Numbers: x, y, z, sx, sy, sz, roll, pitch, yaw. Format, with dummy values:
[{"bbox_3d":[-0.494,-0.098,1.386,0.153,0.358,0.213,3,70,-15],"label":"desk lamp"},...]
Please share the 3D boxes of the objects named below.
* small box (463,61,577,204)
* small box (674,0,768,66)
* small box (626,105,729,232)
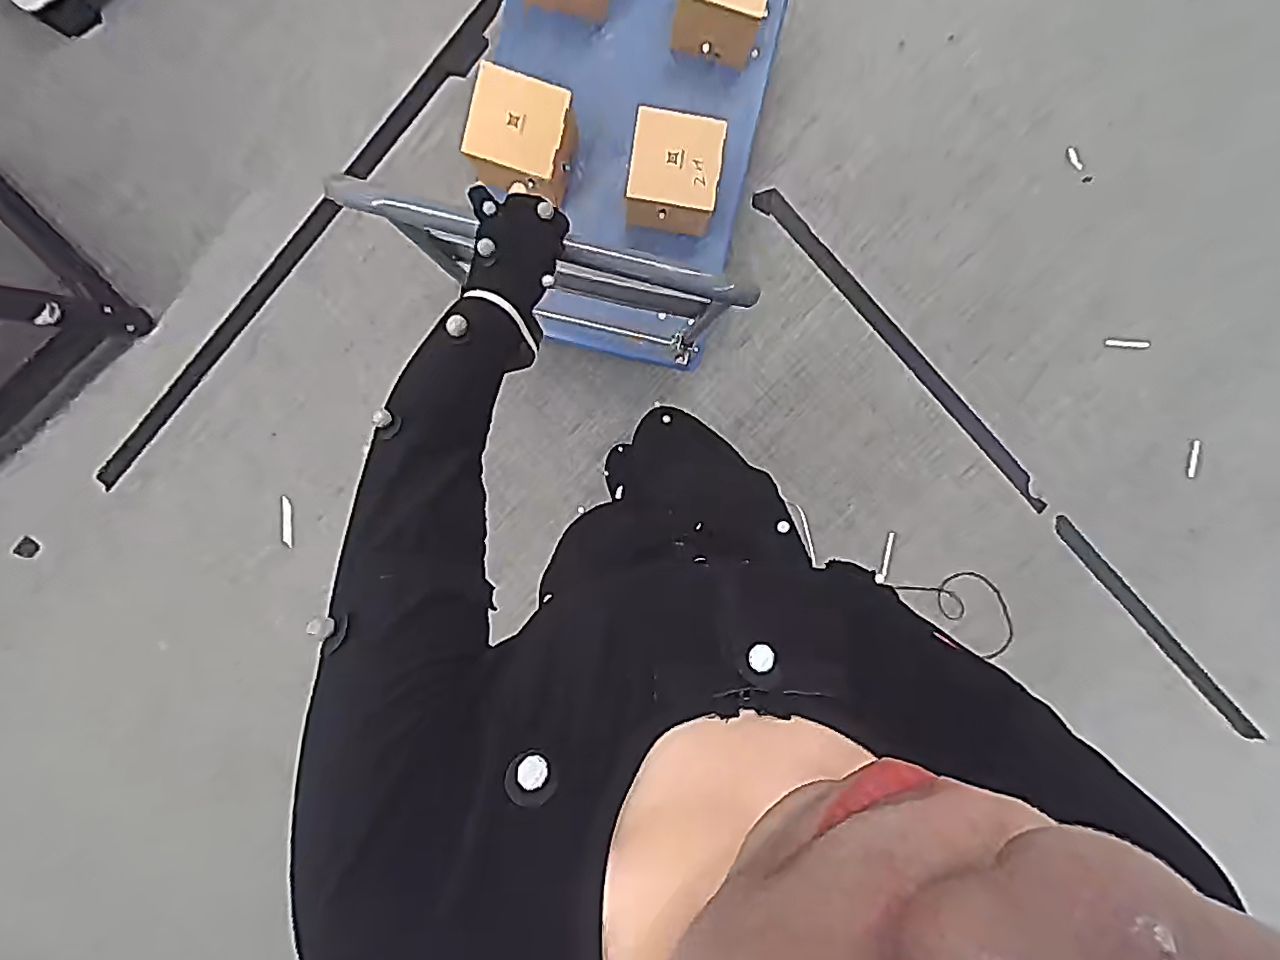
[{"bbox_3d":[-0.233,-0.686,1.092,0.179,0.176,0.168,15,98,-6],"label":"small box"},{"bbox_3d":[0.169,-0.973,1.060,0.168,0.176,0.179,14,99,-4],"label":"small box"},{"bbox_3d":[0.070,-0.627,1.111,0.179,0.176,0.168,9,99,-3],"label":"small box"}]
